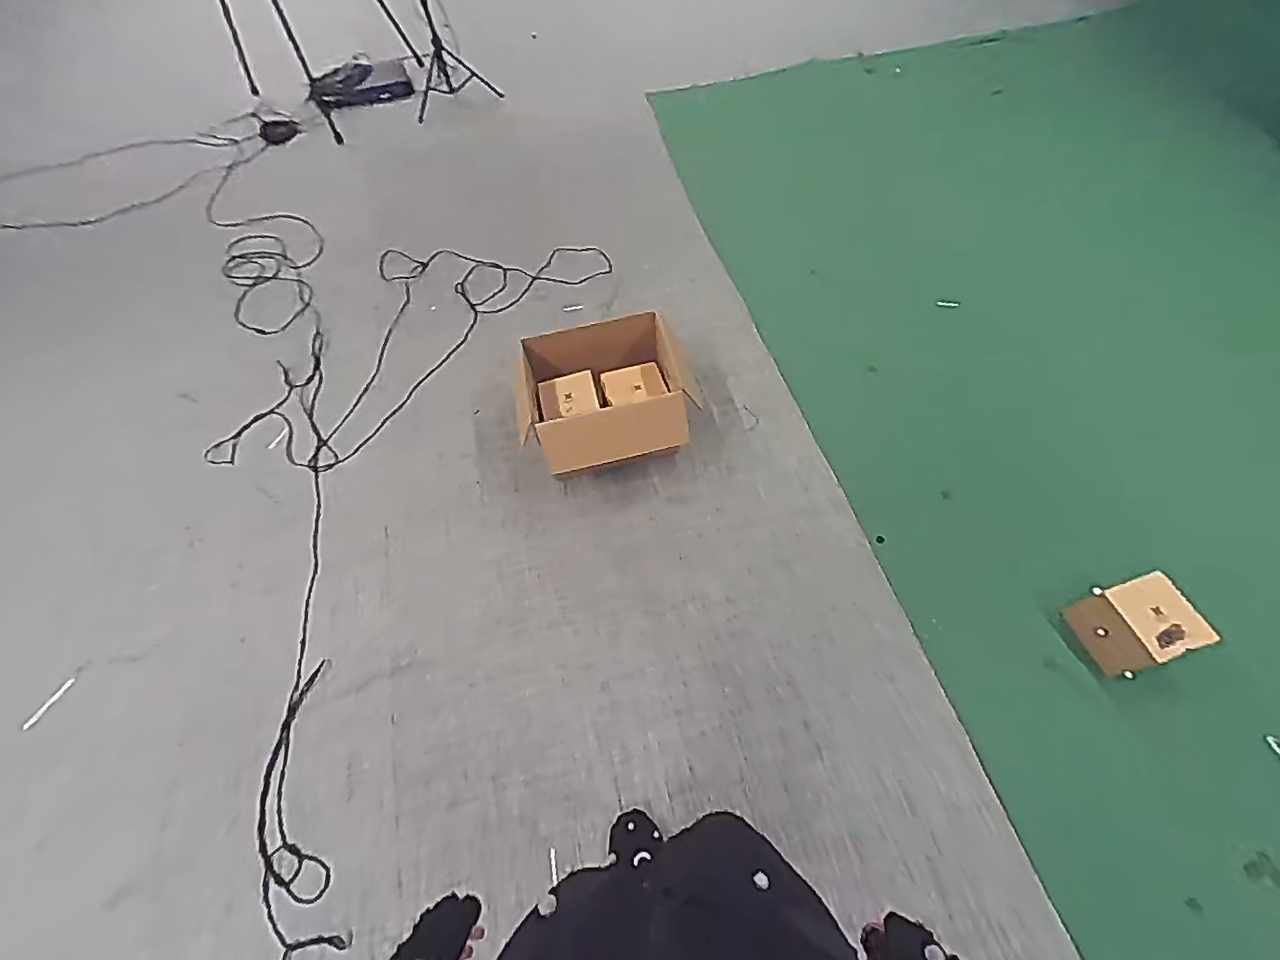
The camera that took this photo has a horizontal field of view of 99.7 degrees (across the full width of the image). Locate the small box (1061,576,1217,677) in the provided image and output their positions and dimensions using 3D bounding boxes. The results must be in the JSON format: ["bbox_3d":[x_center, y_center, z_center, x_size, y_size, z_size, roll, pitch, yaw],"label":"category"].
[{"bbox_3d":[1.180,0.359,1.295,0.168,0.176,0.179,-16,60,-7],"label":"small box"}]
